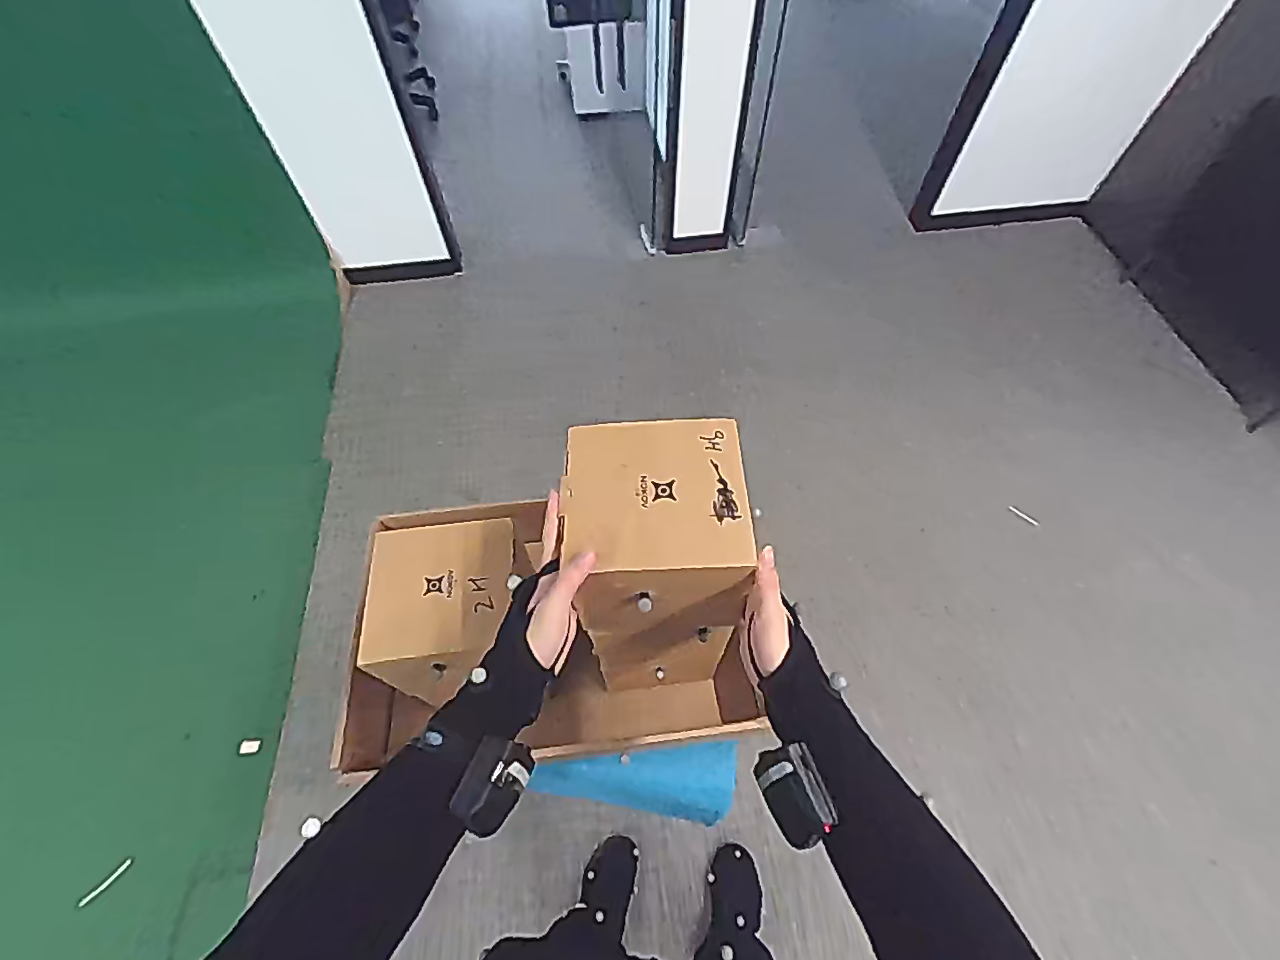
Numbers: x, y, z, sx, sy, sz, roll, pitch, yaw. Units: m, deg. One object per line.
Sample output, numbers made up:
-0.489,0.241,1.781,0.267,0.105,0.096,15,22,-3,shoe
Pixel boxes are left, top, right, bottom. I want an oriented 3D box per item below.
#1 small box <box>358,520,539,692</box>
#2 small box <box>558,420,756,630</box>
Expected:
-0.234,0.170,0.707,0.179,0.176,0.168,-5,58,-4,small box
0.019,0.055,0.577,0.179,0.176,0.168,-2,57,2,small box
